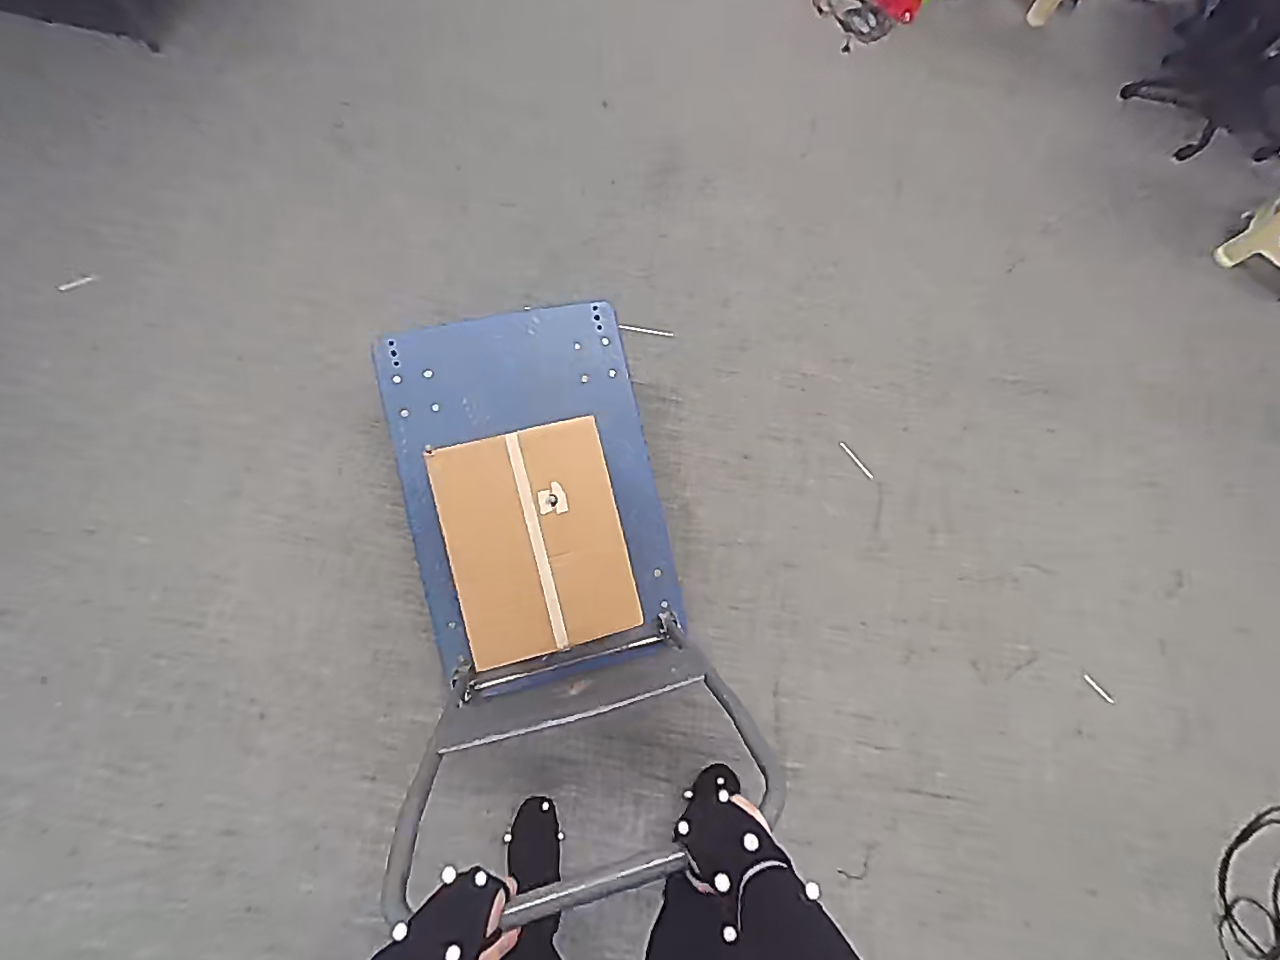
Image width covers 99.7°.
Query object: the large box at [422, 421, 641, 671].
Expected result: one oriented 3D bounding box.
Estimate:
[{"bbox_3d":[-0.213,0.123,1.138,0.320,0.320,0.408,-15,90,-9],"label":"large box"}]
